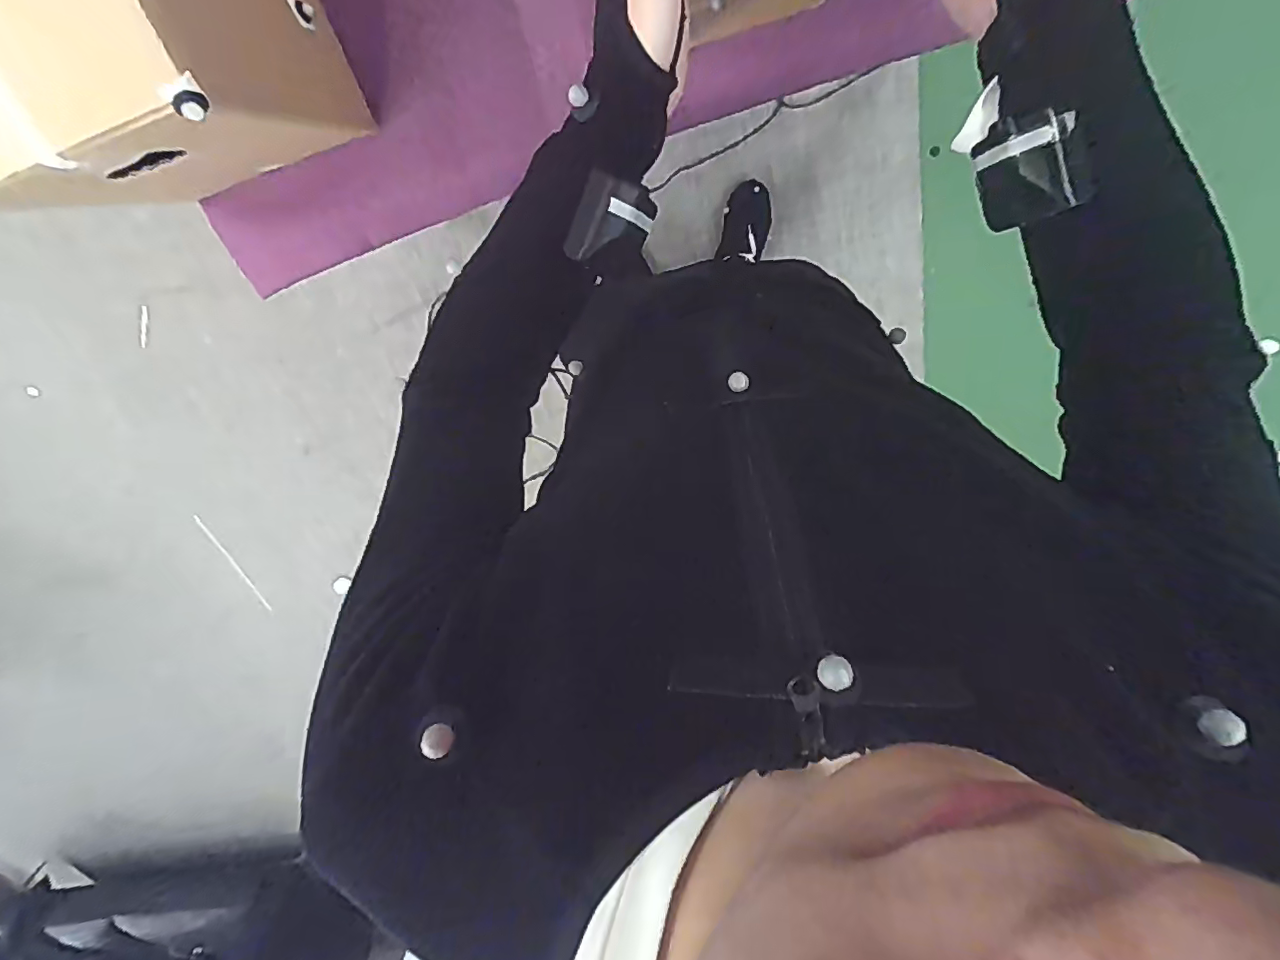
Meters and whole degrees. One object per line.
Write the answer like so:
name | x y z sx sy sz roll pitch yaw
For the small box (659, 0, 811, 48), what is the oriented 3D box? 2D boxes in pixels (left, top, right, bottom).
small box | 0.094 -0.552 0.520 0.179 0.176 0.168 -10 118 9
